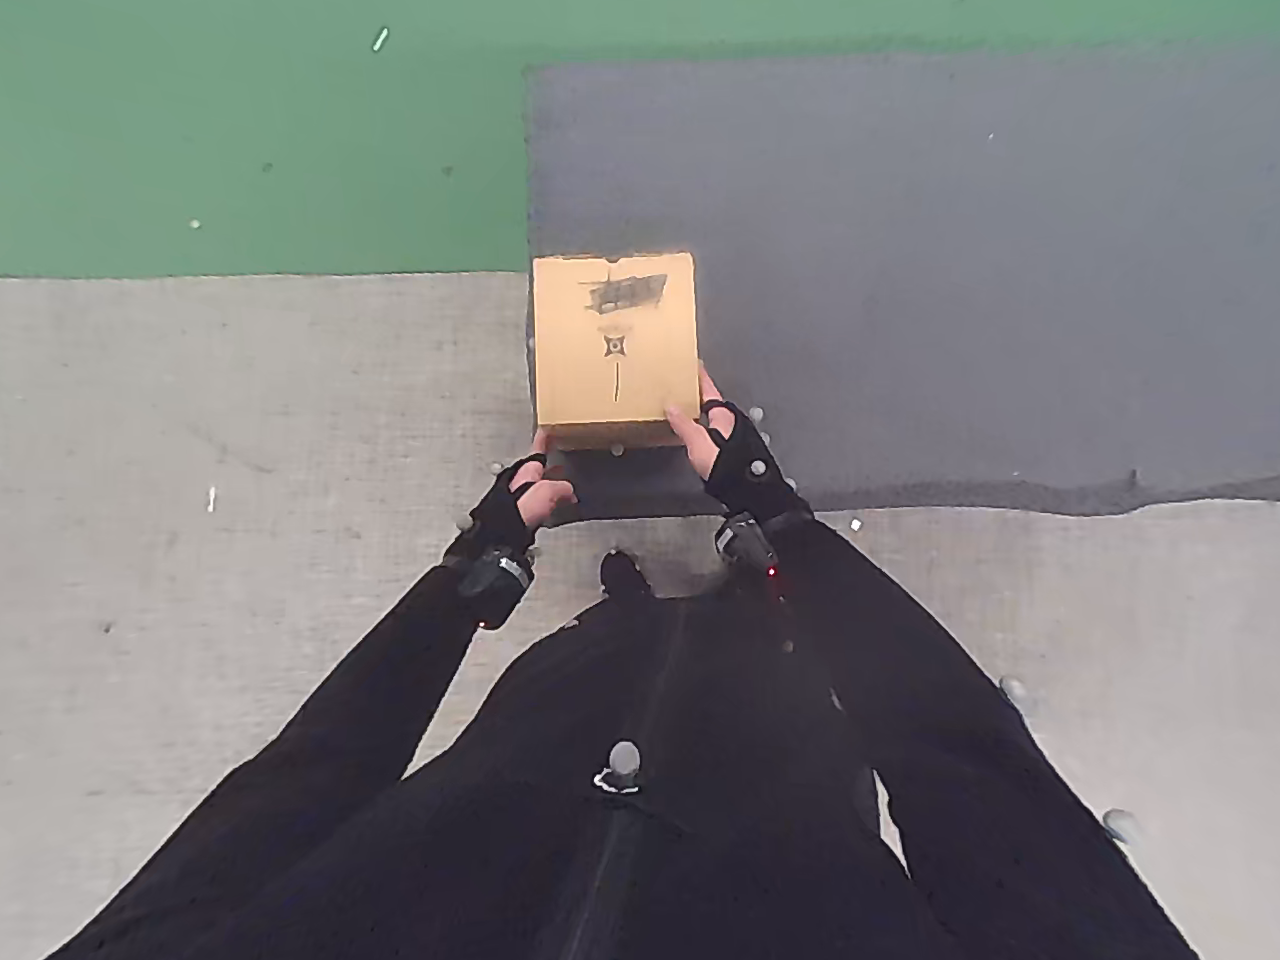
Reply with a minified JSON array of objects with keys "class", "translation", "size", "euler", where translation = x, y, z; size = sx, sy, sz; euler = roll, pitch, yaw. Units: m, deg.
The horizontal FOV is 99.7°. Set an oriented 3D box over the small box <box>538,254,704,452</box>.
[{"class":"small box","translation":[-0.021,-0.133,0.617],"size":[0.168,0.176,0.179],"euler":[-2,84,0]}]
